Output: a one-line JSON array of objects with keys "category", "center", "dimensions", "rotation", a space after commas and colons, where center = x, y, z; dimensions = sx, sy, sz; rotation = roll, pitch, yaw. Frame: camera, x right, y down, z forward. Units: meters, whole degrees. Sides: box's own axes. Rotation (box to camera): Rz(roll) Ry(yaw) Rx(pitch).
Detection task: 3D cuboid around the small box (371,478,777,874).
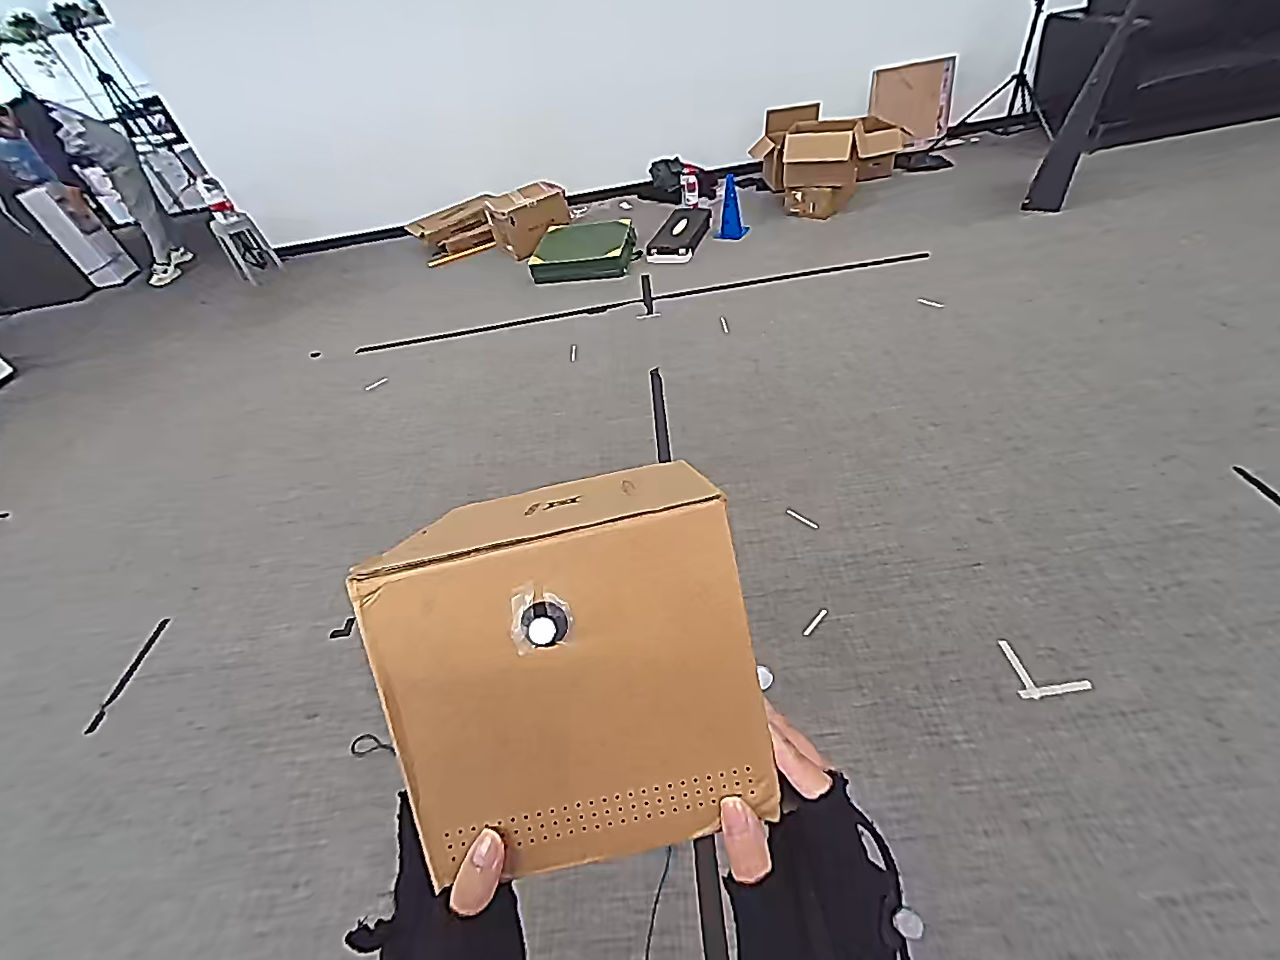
[{"category": "small box", "center": [-0.030, 0.106, 0.345], "dimensions": [0.179, 0.176, 0.168], "rotation": [-12, 7, 0]}]
